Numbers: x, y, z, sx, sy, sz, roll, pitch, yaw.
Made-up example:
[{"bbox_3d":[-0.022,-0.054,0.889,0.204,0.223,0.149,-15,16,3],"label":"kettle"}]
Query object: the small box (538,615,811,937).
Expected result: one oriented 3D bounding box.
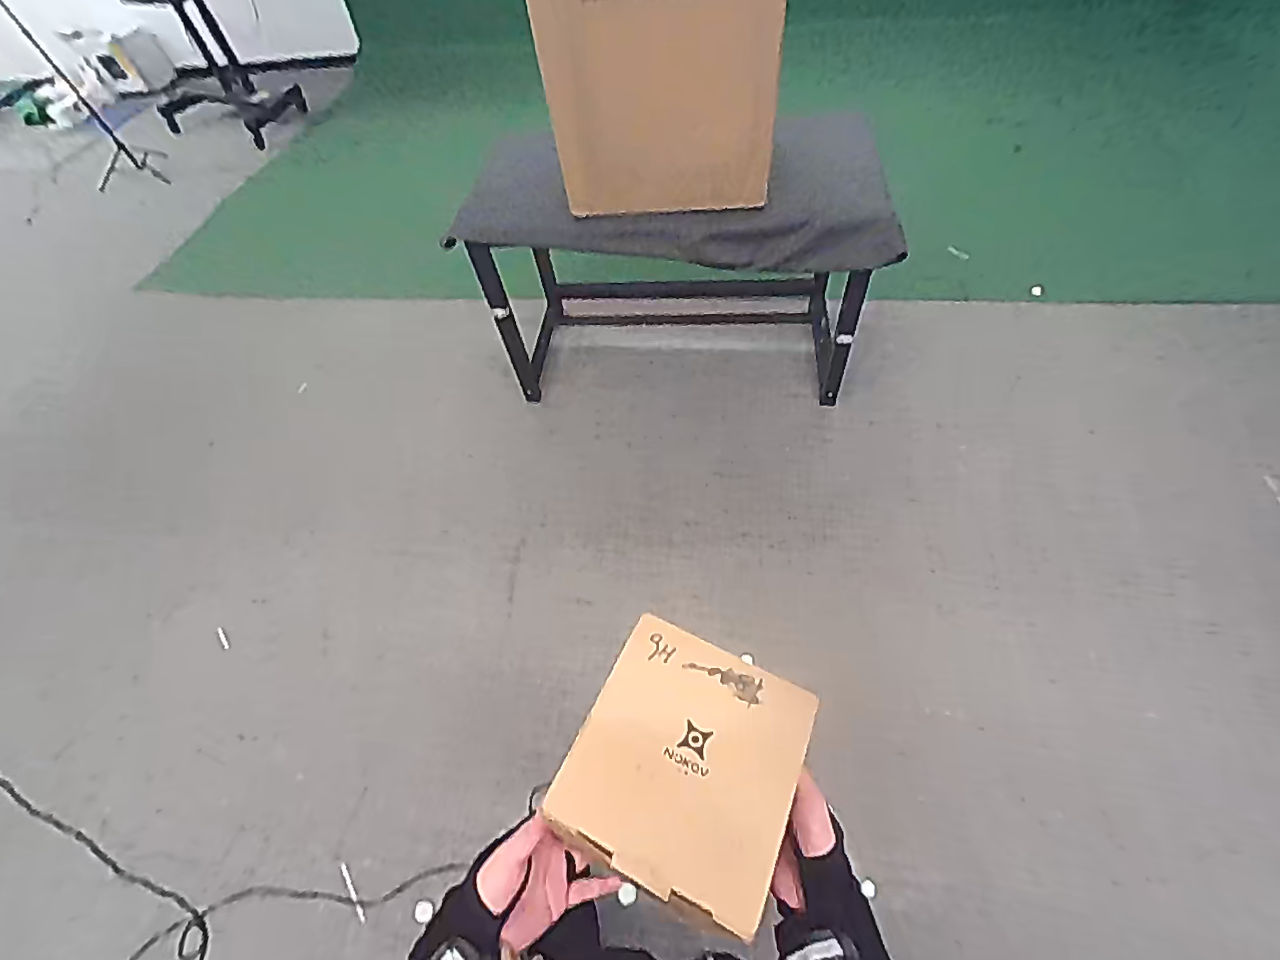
[{"bbox_3d":[0.030,0.260,0.486,0.168,0.176,0.179,24,54,12],"label":"small box"}]
